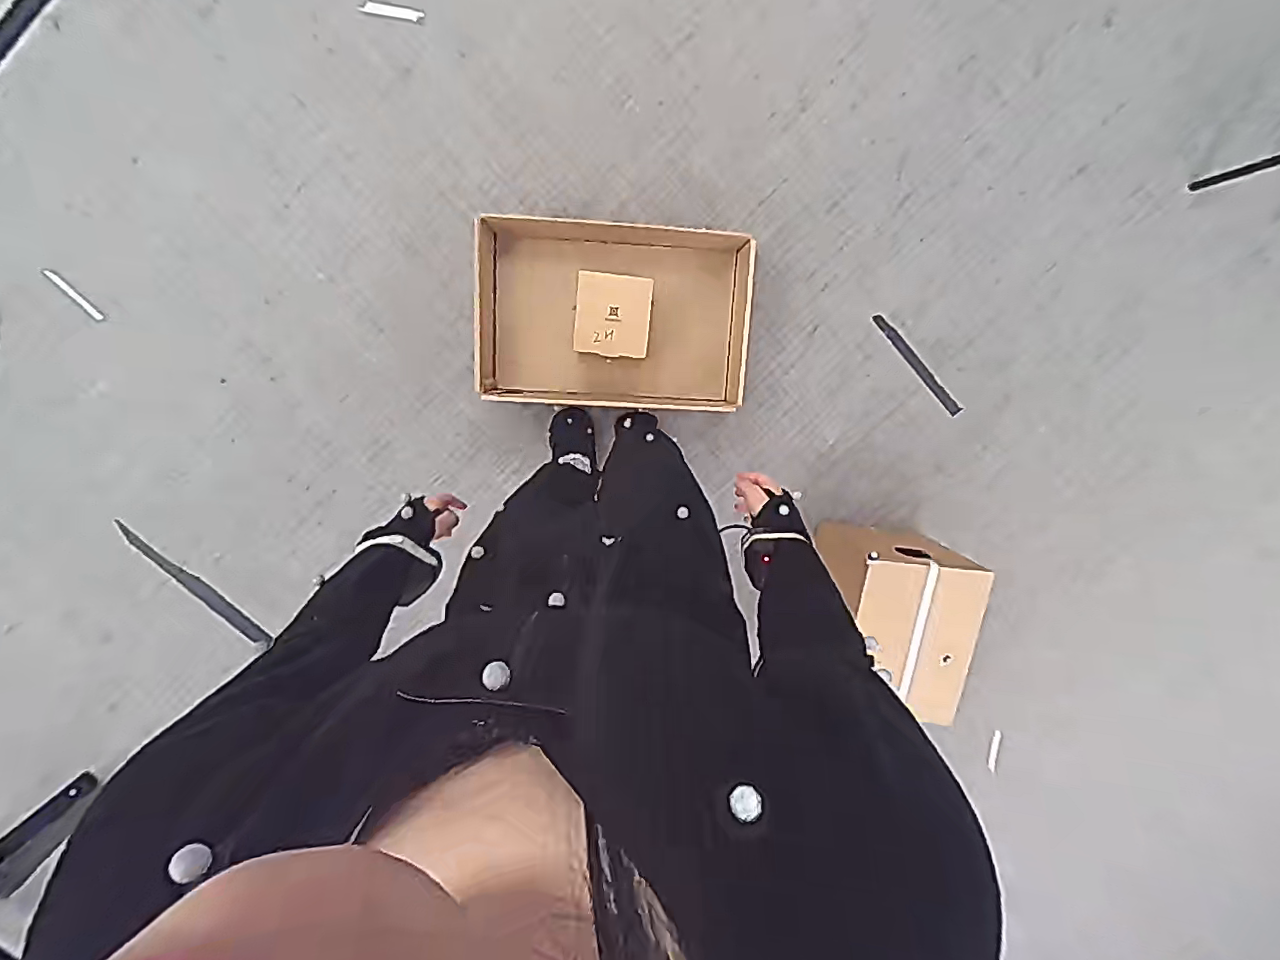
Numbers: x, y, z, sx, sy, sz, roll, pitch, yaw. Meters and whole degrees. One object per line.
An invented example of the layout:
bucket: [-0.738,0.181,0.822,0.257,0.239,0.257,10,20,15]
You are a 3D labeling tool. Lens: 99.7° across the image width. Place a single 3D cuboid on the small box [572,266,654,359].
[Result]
small box: [-0.065,-0.383,1.263,0.168,0.176,0.179,6,101,-4]
